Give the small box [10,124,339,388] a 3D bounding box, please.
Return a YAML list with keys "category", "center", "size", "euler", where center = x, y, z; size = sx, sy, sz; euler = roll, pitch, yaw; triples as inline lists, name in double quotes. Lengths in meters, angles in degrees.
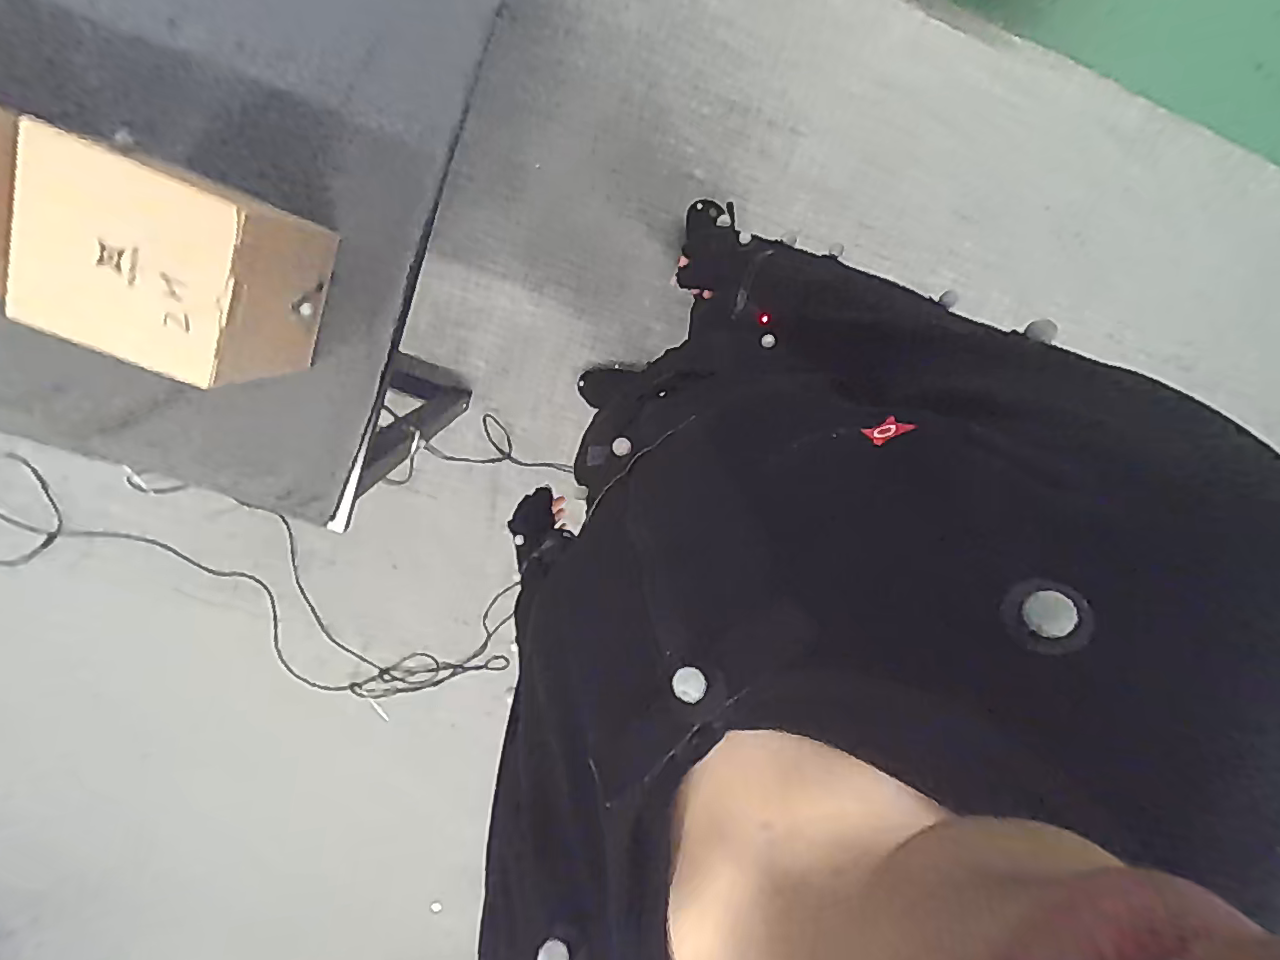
- category: "small box"
  center: [-0.445, -0.208, 0.542]
  size: [0.179, 0.176, 0.168]
  euler: [21, 106, -9]
